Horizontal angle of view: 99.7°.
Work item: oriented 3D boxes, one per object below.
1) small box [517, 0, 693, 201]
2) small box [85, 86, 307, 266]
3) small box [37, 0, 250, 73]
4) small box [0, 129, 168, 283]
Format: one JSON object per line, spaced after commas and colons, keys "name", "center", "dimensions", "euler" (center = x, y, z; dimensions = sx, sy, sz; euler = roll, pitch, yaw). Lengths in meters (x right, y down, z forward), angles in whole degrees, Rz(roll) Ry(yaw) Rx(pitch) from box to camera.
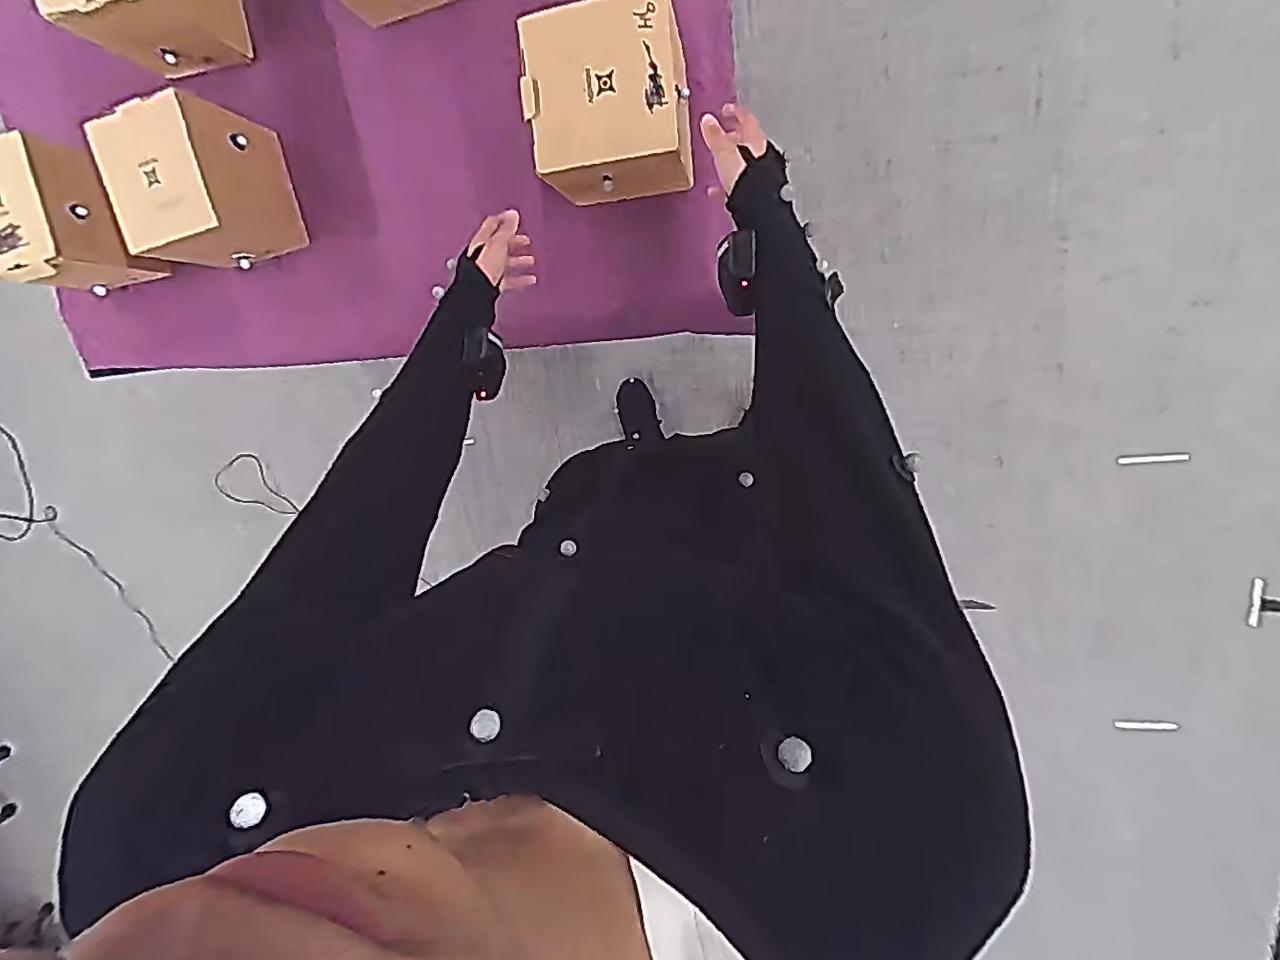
{"name": "small box", "center": [-0.033, -0.472, 0.689], "dimensions": [0.179, 0.176, 0.168], "euler": [-2, 104, 13]}
{"name": "small box", "center": [-0.653, -0.441, 0.816], "dimensions": [0.168, 0.176, 0.179], "euler": [-8, 102, 14]}
{"name": "small box", "center": [-0.694, -0.713, 0.750], "dimensions": [0.168, 0.176, 0.179], "euler": [-2, 104, 10]}
{"name": "small box", "center": [-0.921, -0.422, 0.870], "dimensions": [0.168, 0.176, 0.179], "euler": [-6, 102, 12]}
